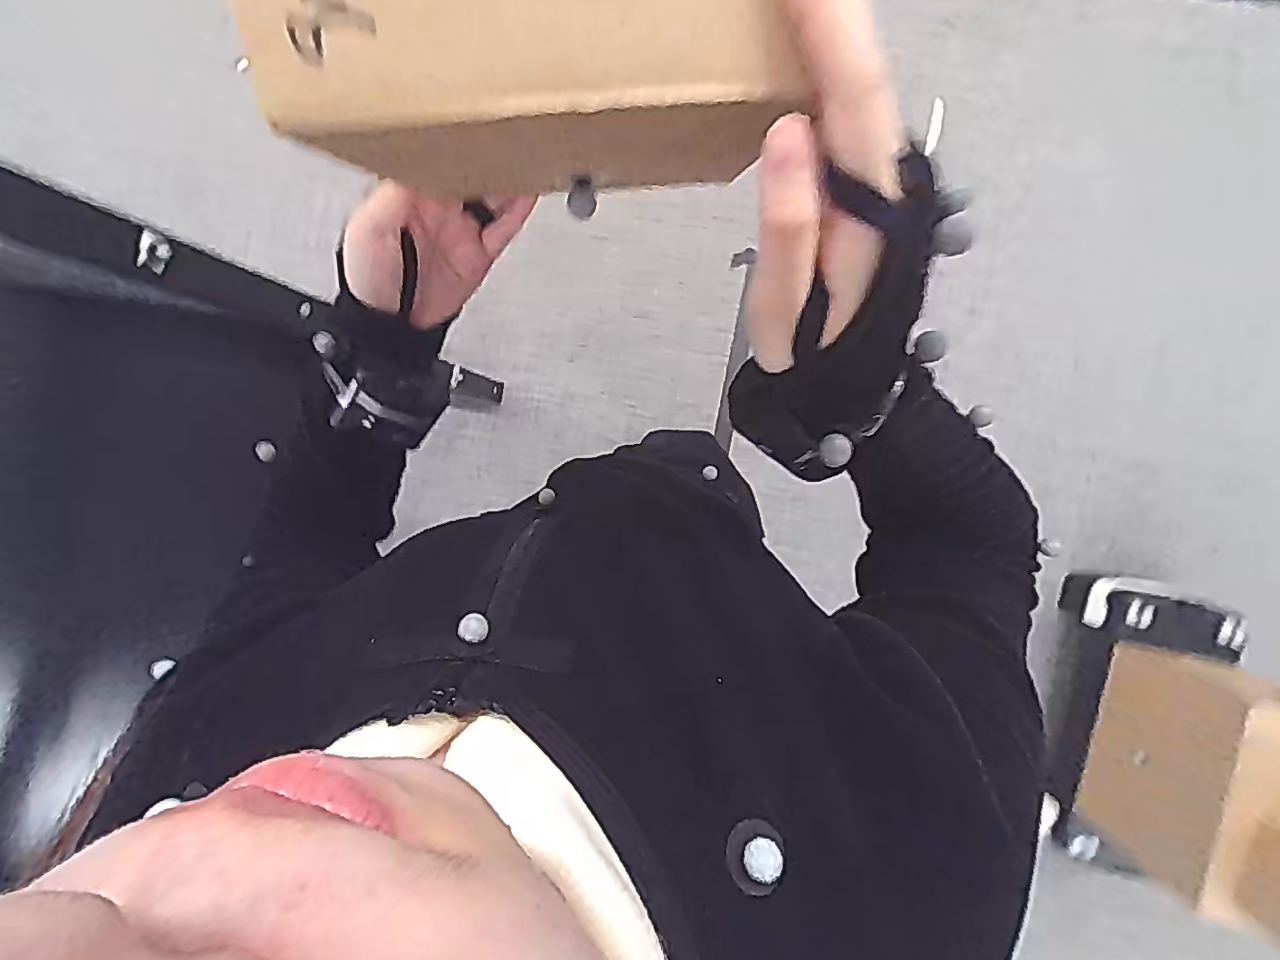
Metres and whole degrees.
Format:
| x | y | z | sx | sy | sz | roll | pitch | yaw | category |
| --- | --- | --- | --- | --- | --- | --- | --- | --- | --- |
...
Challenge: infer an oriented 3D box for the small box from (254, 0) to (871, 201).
| x | y | z | sx | sy | sz | roll | pitch | yaw | category |
| --- | --- | --- | --- | --- | --- | --- | --- | --- | --- |
| -0.027 | -0.212 | 0.208 | 0.179 | 0.176 | 0.168 | -4 | 109 | -2 | small box |

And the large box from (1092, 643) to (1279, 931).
| x | y | z | sx | sy | sz | roll | pitch | yaw | category |
| --- | --- | --- | --- | --- | --- | --- | --- | --- | --- |
| 1.192 | 0.590 | 1.070 | 0.320 | 0.320 | 0.408 | 11 | 92 | 4 | large box |

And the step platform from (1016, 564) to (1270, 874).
| x | y | z | sx | sy | sz | roll | pitch | yaw | category |
| --- | --- | --- | --- | --- | --- | --- | --- | --- | --- |
| 1.200 | 0.564 | 1.308 | 0.286 | 0.204 | 0.684 | 16 | 92 | 4 | step platform |
